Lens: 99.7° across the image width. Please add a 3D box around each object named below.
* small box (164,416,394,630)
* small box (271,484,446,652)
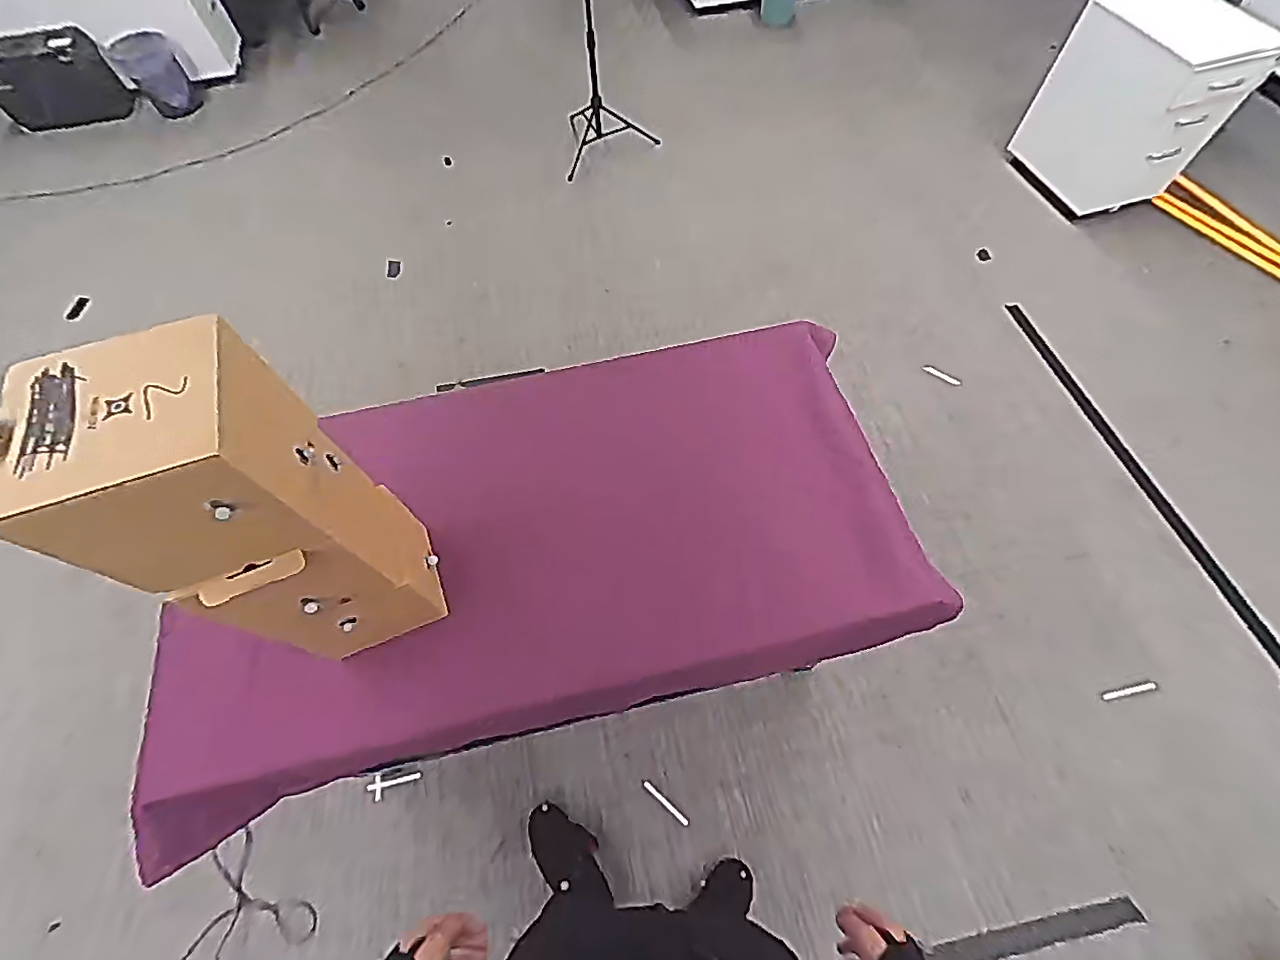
[{"bbox_3d":[-0.428,0.058,0.660,0.168,0.176,0.179,-22,64,-9],"label":"small box"},{"bbox_3d":[-0.415,0.137,0.805,0.179,0.176,0.168,-21,64,-10],"label":"small box"}]
